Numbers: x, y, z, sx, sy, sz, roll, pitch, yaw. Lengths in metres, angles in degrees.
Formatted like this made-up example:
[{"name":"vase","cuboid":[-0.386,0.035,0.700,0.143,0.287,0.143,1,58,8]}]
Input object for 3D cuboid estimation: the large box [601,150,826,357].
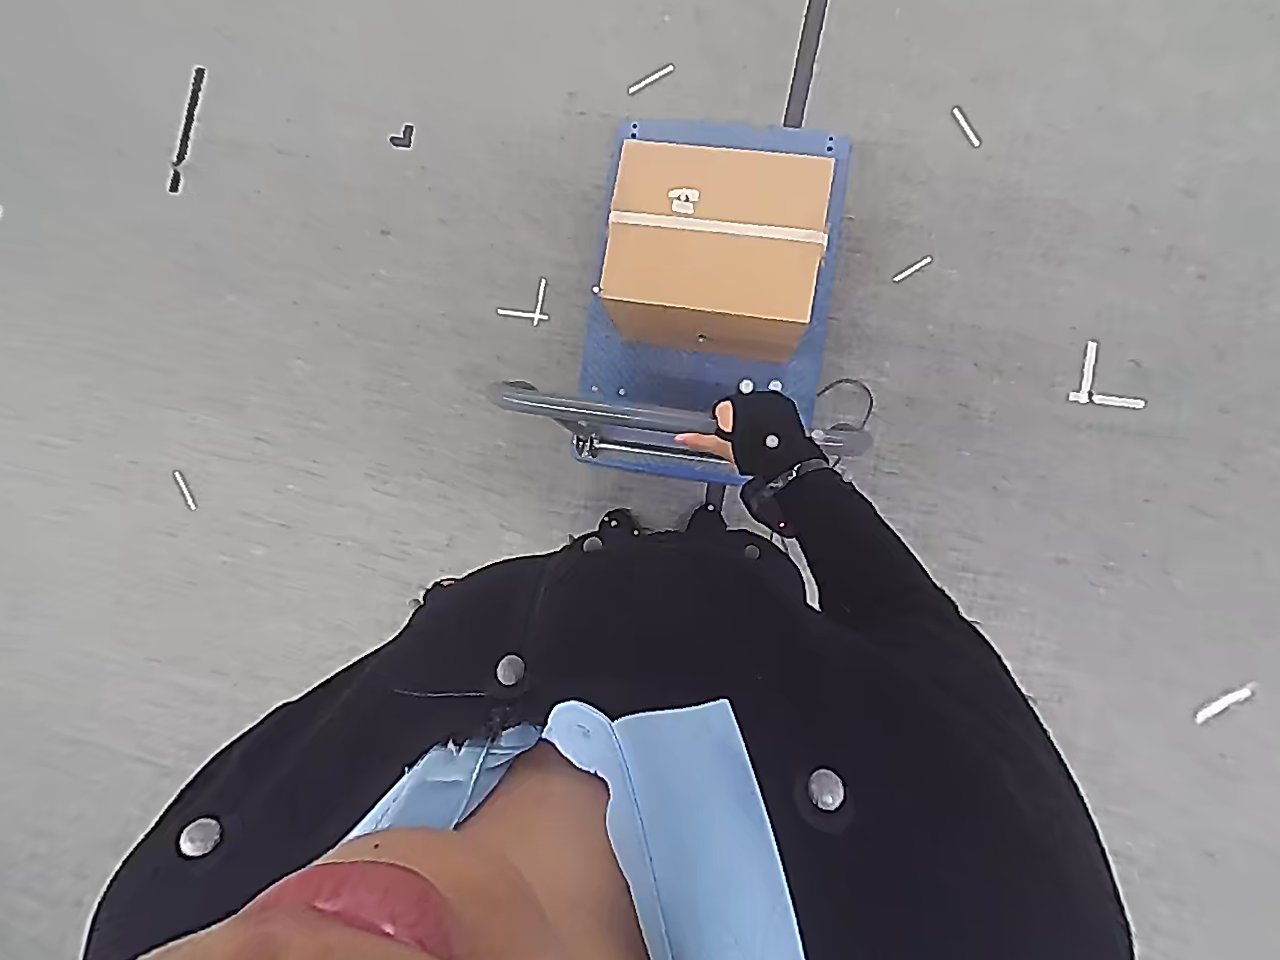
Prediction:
[{"name":"large box","cuboid":[0.159,-0.473,1.187,0.408,0.320,0.320,9,89,8]}]
